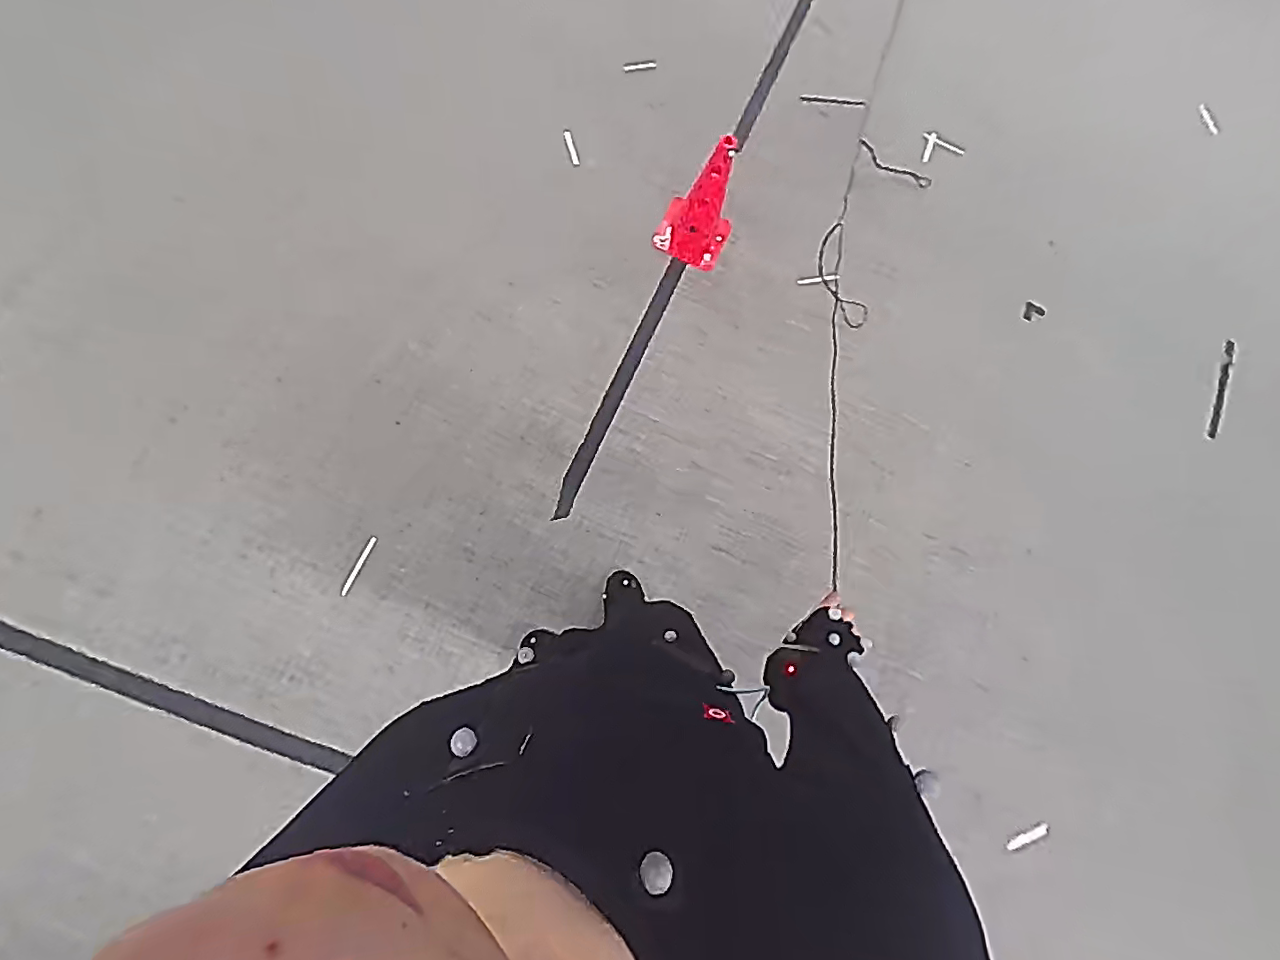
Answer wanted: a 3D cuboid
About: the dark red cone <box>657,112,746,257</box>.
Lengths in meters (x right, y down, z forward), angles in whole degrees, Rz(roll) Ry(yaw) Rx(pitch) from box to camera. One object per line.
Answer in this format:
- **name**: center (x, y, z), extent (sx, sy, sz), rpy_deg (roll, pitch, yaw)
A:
- **dark red cone**: center (0.196, -0.808, 1.452), extent (0.201, 0.394, 0.202), rpy_deg (24, 76, -5)
